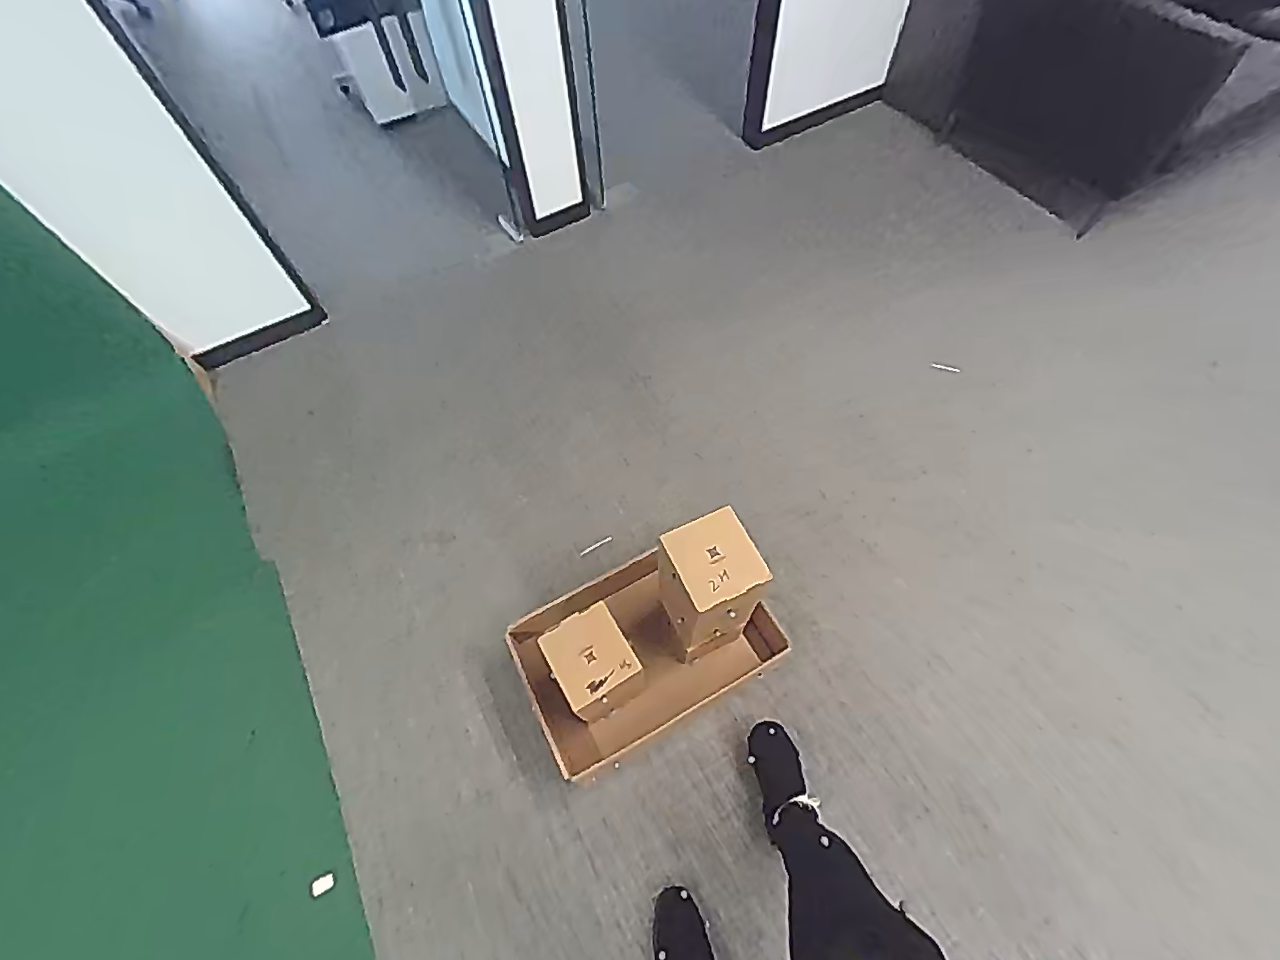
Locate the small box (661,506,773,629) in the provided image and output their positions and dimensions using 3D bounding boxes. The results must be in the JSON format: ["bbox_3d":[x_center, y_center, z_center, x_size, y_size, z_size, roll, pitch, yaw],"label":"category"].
[{"bbox_3d":[0.150,0.187,1.133,0.168,0.176,0.179,-22,64,-10],"label":"small box"}]

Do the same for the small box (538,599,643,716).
[{"bbox_3d":[-0.106,0.402,1.210,0.168,0.176,0.179,-29,64,-13],"label":"small box"}]

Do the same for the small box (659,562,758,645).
[{"bbox_3d":[0.152,0.265,1.279,0.168,0.176,0.179,-22,64,-11],"label":"small box"}]
